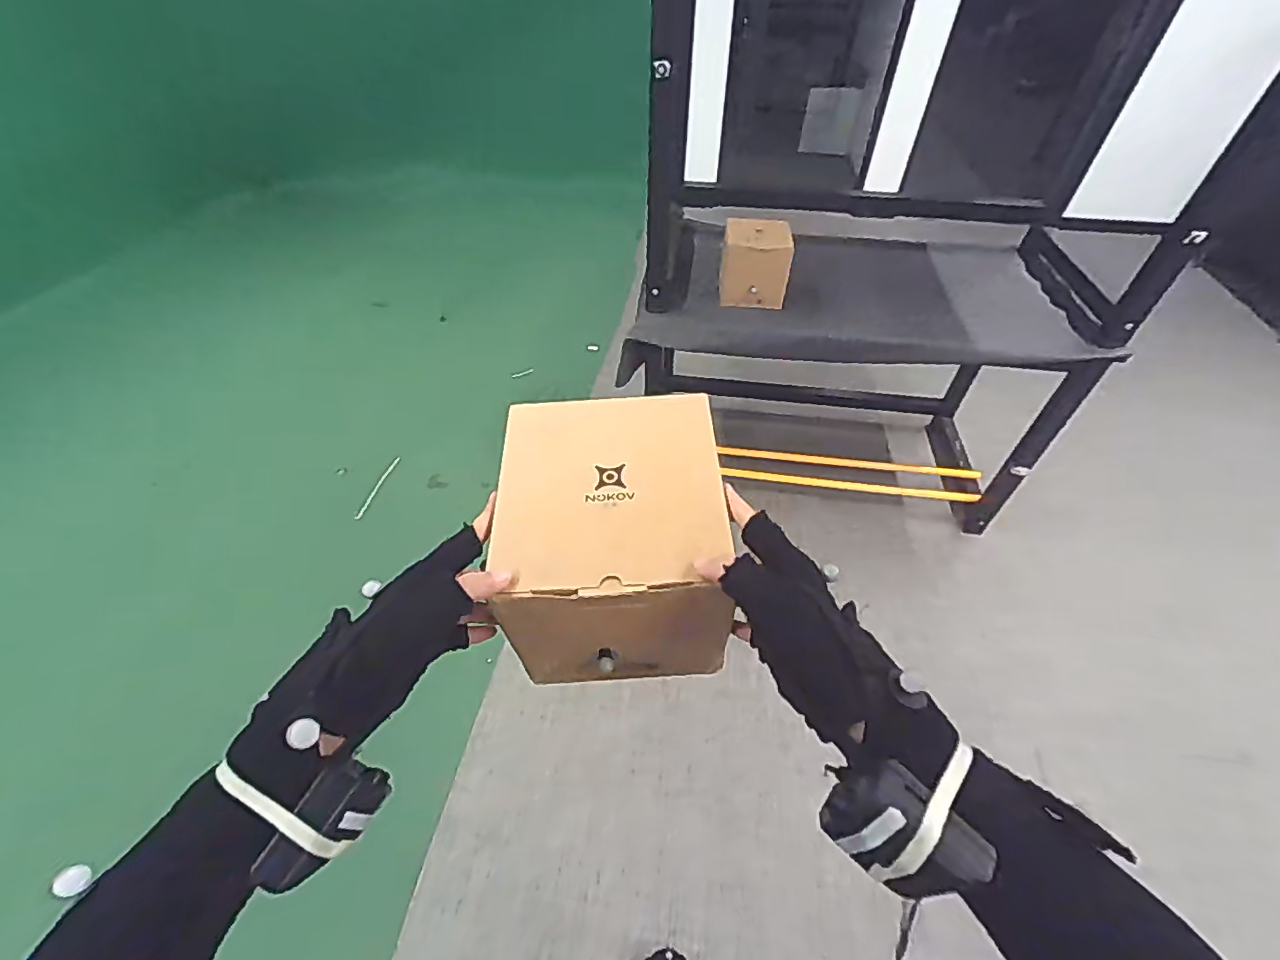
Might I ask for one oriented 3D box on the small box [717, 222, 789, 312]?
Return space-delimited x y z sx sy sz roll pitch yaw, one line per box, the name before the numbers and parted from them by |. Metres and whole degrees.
small box | 0.300 -0.579 1.466 0.168 0.176 0.179 4 47 4
